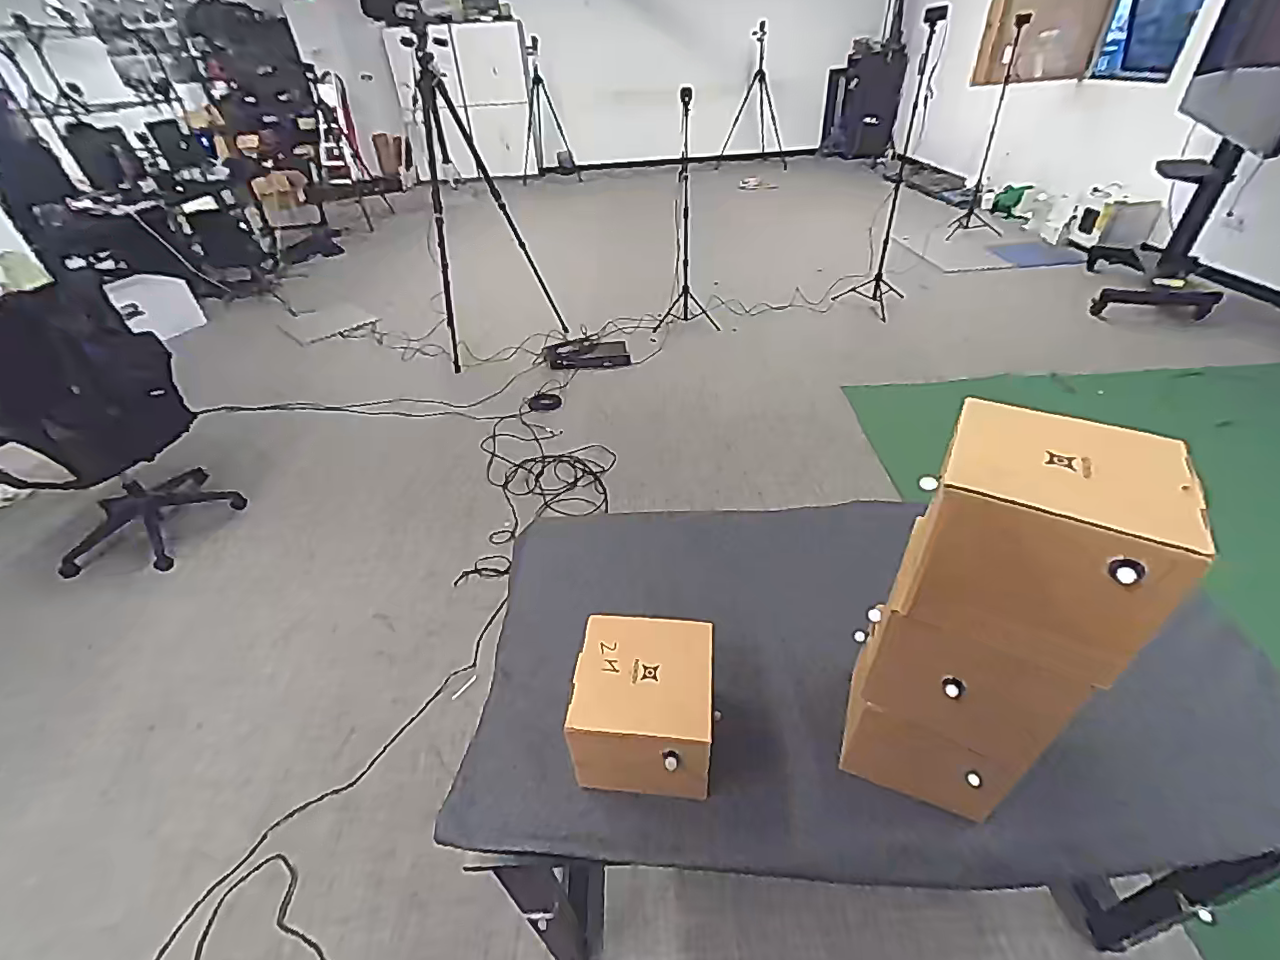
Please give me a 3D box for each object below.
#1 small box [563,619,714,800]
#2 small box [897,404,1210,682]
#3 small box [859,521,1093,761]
[{"bbox_3d":[0.008,0.313,0.738,0.179,0.176,0.168,2,39,7],"label":"small box"},{"bbox_3d":[0.362,0.054,0.507,0.179,0.176,0.168,19,43,26],"label":"small box"},{"bbox_3d":[0.368,0.181,0.609,0.179,0.176,0.168,18,43,27],"label":"small box"}]
